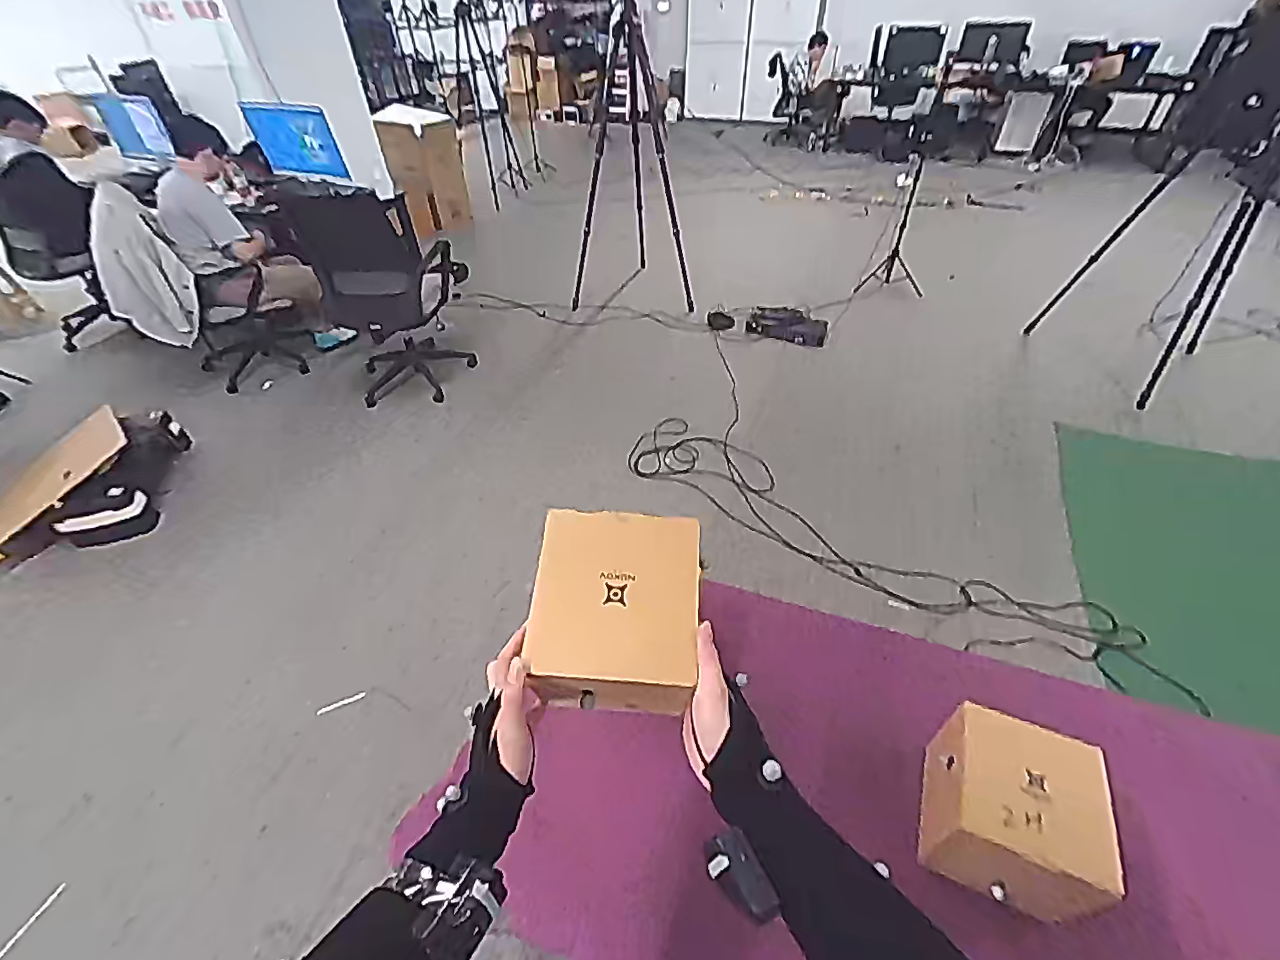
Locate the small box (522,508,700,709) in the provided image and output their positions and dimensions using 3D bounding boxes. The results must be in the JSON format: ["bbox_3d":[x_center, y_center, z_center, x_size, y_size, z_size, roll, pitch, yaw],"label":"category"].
[{"bbox_3d":[-0.023,0.149,0.601,0.168,0.176,0.179,3,59,1],"label":"small box"}]

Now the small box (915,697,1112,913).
[{"bbox_3d":[0.492,0.441,0.739,0.168,0.176,0.179,17,46,19],"label":"small box"}]
